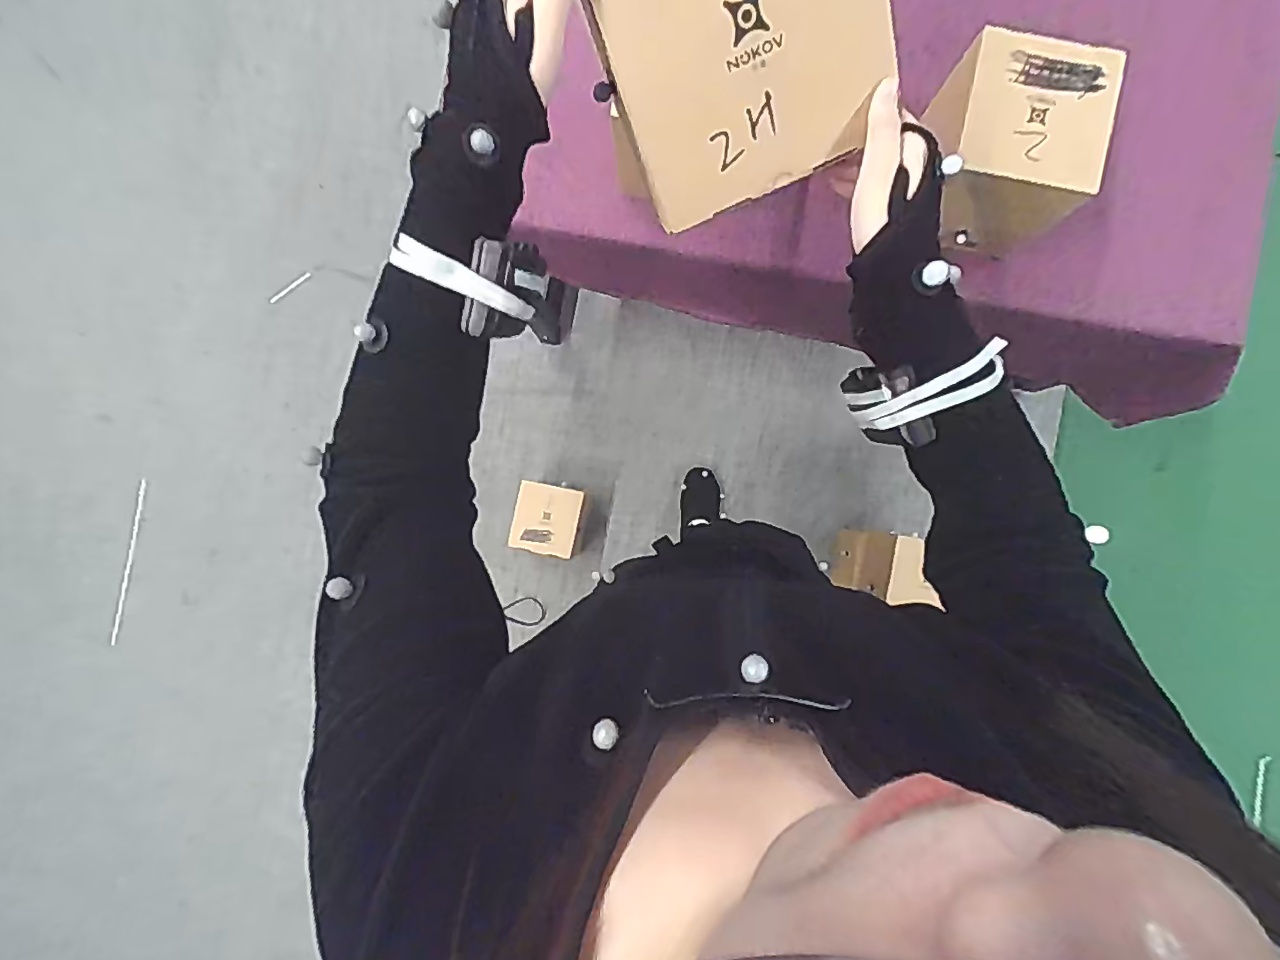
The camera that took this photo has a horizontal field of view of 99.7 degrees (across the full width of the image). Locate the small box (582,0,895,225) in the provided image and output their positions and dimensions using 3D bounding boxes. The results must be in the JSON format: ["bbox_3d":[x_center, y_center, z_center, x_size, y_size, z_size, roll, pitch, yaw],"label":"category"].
[{"bbox_3d":[0.059,-0.316,0.398,0.168,0.176,0.179,-20,121,10],"label":"small box"}]

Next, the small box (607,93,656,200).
[{"bbox_3d":[0.059,-0.493,0.724,0.179,0.176,0.168,9,87,1],"label":"small box"}]

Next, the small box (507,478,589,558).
[{"bbox_3d":[-0.238,0.099,1.440,0.168,0.176,0.179,12,87,2],"label":"small box"}]

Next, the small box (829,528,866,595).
[{"bbox_3d":[0.611,0.218,1.410,0.179,0.176,0.168,9,88,2],"label":"small box"}]

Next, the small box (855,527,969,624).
[{"bbox_3d":[0.616,0.212,1.247,0.168,0.176,0.179,11,88,0],"label":"small box"}]
